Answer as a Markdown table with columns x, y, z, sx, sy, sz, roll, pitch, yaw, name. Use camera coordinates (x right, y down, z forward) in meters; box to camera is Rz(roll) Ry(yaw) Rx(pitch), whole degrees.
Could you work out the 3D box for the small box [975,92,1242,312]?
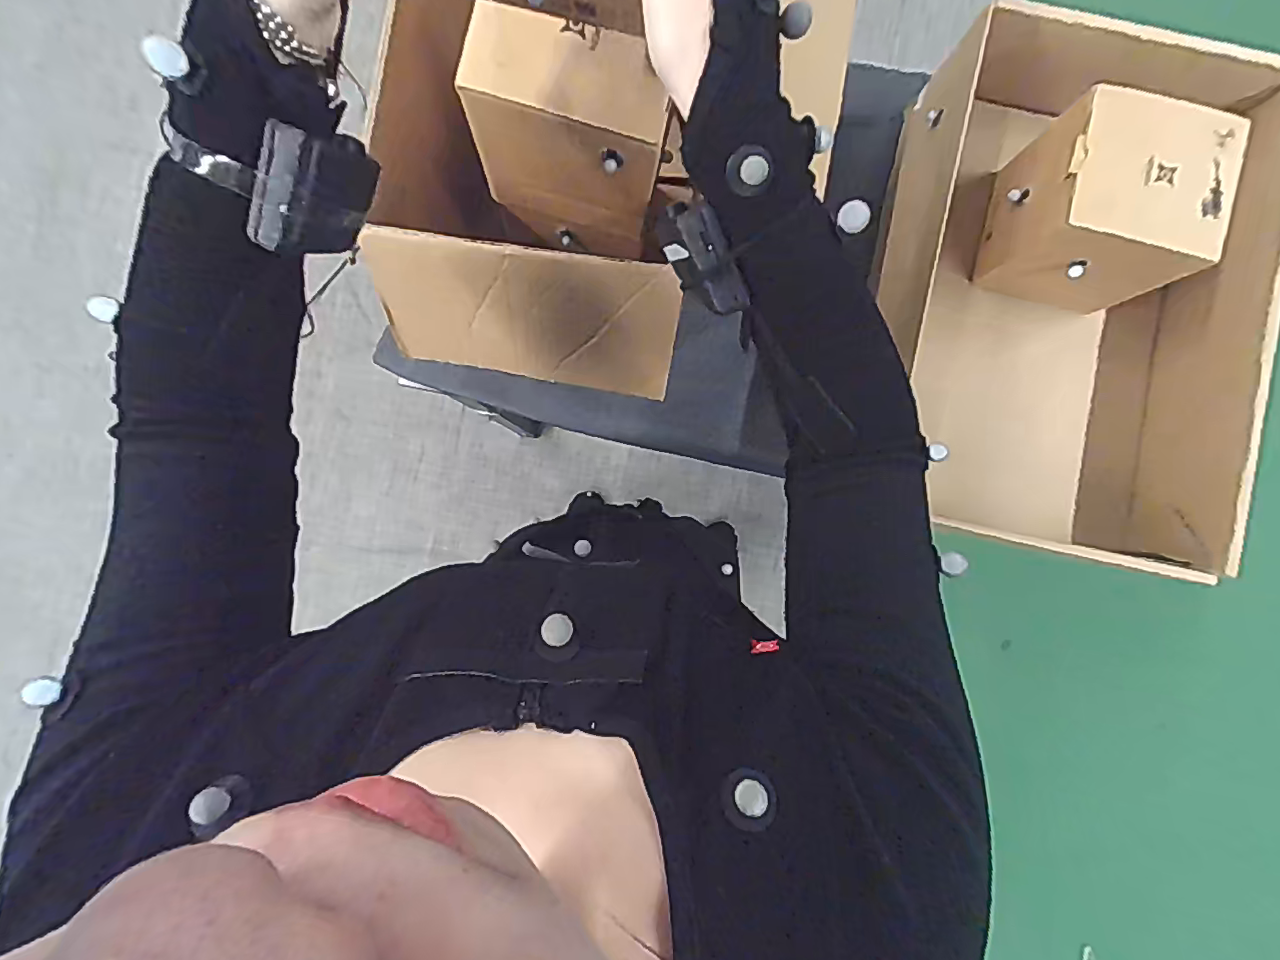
| x | y | z | sx | sy | sz | roll | pitch | yaw | name |
| --- | --- | --- | --- | --- | --- | --- | --- | --- | --- |
| 0.559 | -0.328 | 0.673 | 0.179 | 0.176 | 0.168 | 14 | 89 | 1 | small box |
